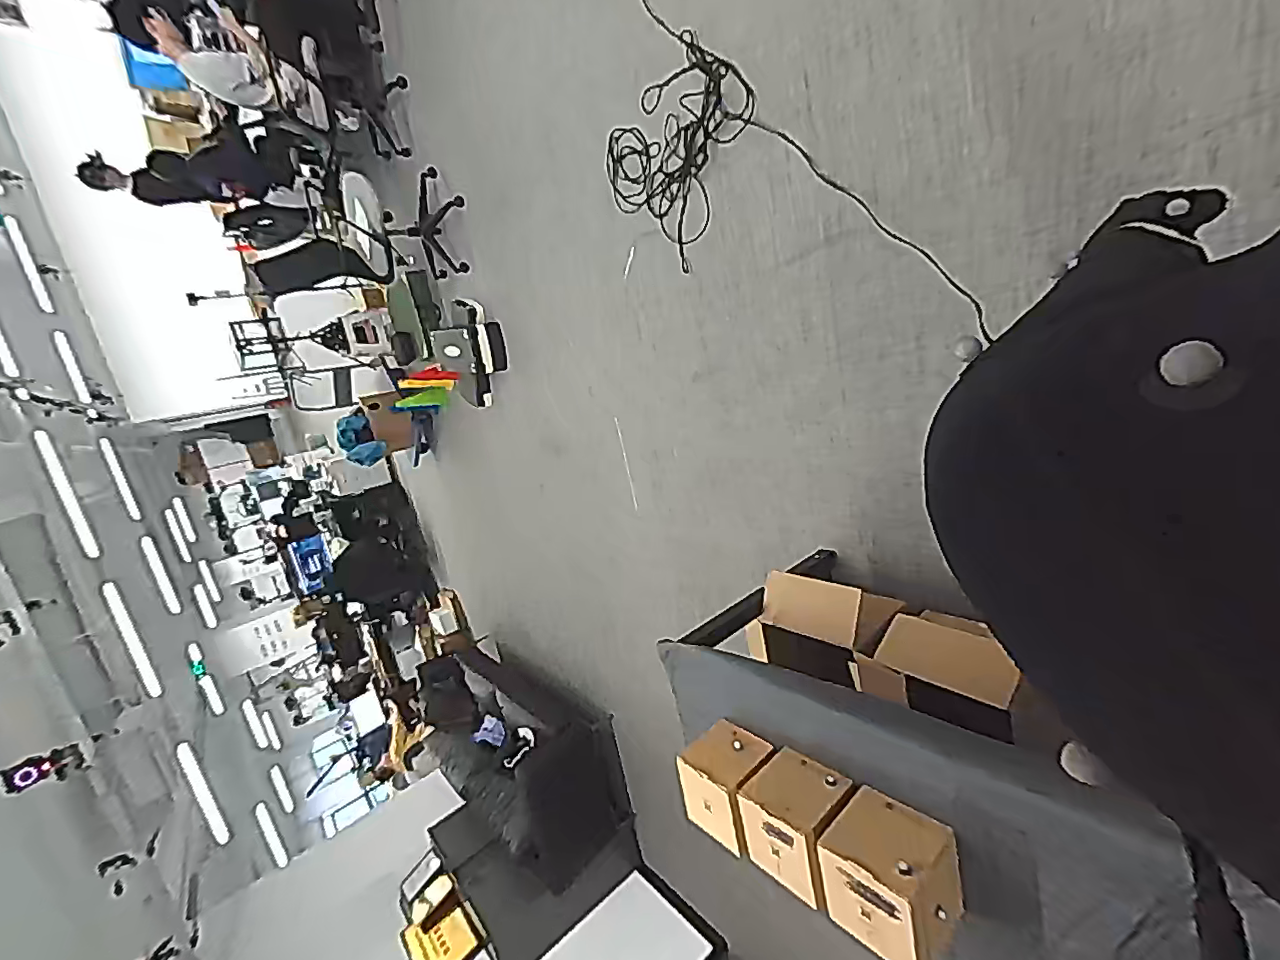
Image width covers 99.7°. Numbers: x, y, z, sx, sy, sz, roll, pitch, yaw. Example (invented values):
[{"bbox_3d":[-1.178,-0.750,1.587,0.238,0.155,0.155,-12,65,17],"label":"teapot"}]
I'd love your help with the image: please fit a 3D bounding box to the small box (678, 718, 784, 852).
[{"bbox_3d":[0.218,0.701,1.265,0.168,0.176,0.179,5,110,51],"label":"small box"}]
